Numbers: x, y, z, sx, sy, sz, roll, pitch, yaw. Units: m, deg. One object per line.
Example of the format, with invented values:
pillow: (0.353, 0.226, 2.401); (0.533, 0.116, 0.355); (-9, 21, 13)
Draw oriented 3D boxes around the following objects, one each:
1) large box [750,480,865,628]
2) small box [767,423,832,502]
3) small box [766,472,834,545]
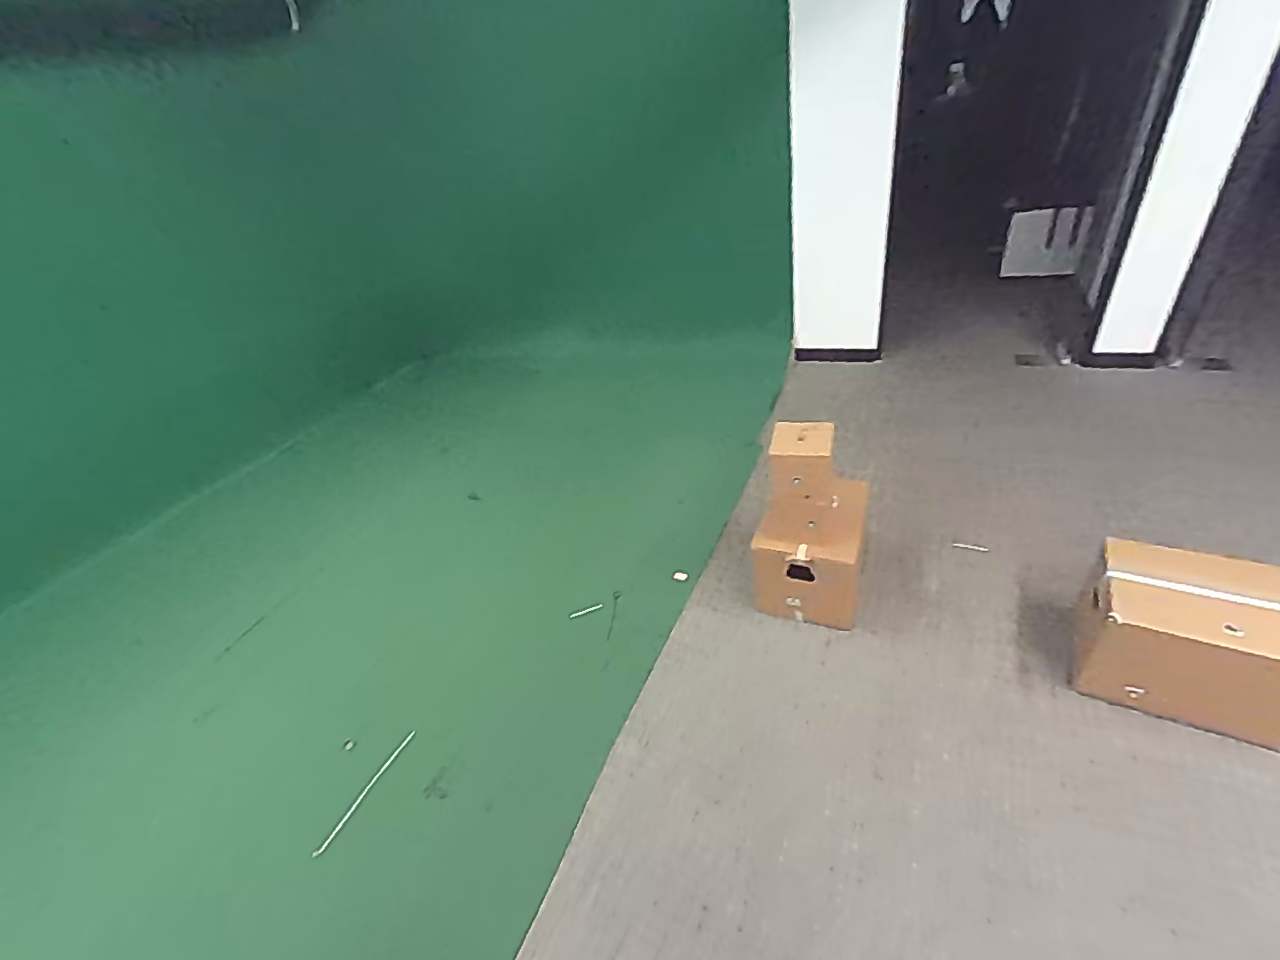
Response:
large box: (0.585, 0.236, 1.856); (0.320, 0.320, 0.408); (7, 39, 25)
small box: (0.471, -0.052, 1.582); (0.168, 0.176, 0.179); (4, 38, 21)
small box: (0.497, 0.083, 1.673); (0.179, 0.176, 0.168); (5, 38, 25)
